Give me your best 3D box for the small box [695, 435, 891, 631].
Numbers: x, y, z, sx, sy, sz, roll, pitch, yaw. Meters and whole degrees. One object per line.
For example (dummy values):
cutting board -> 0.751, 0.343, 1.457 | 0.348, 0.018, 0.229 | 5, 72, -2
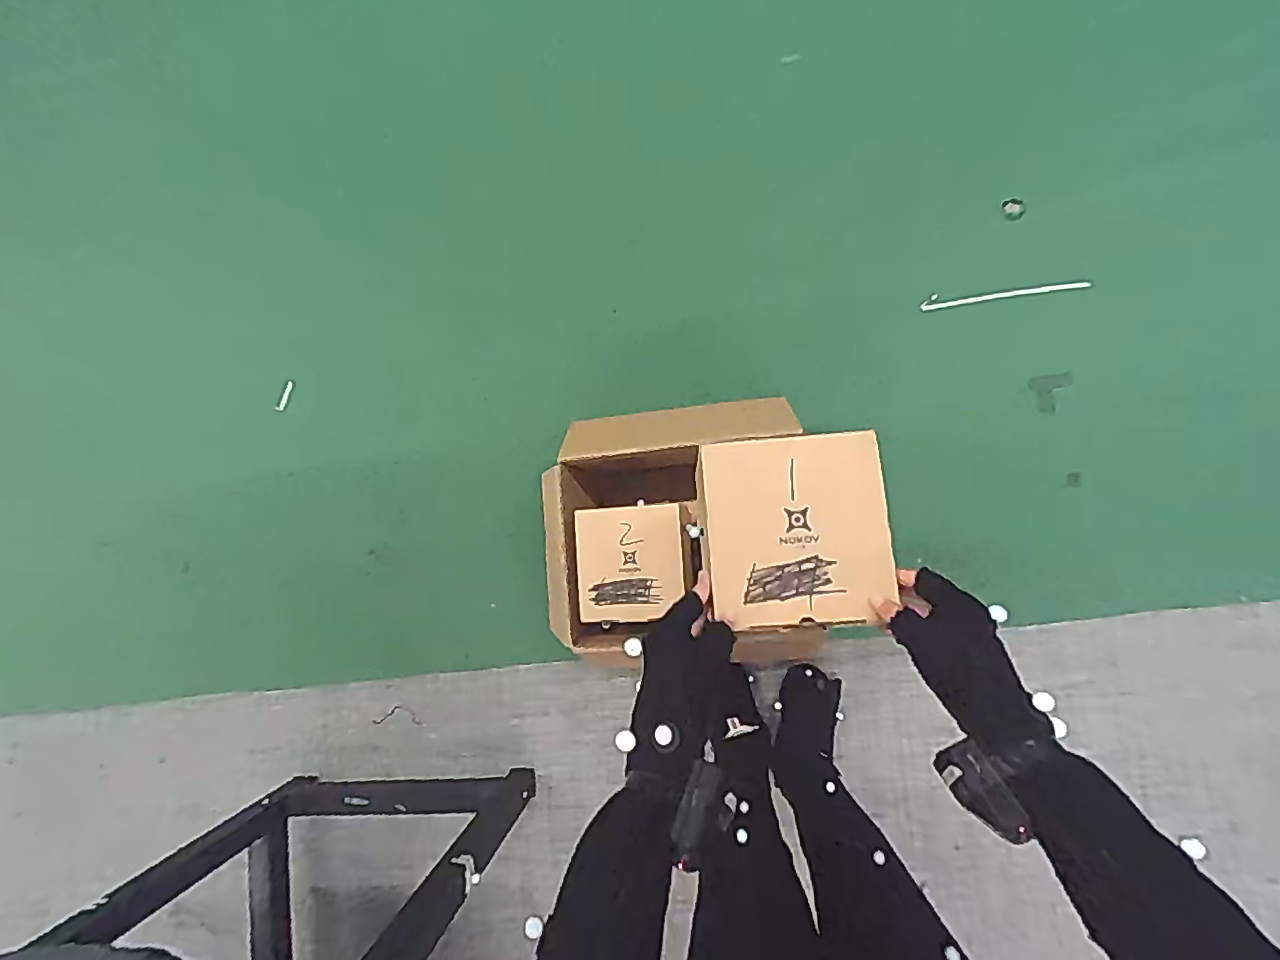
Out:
small box -> 0.148, 0.060, 0.582 | 0.168, 0.176, 0.179 | -4, 79, 4
